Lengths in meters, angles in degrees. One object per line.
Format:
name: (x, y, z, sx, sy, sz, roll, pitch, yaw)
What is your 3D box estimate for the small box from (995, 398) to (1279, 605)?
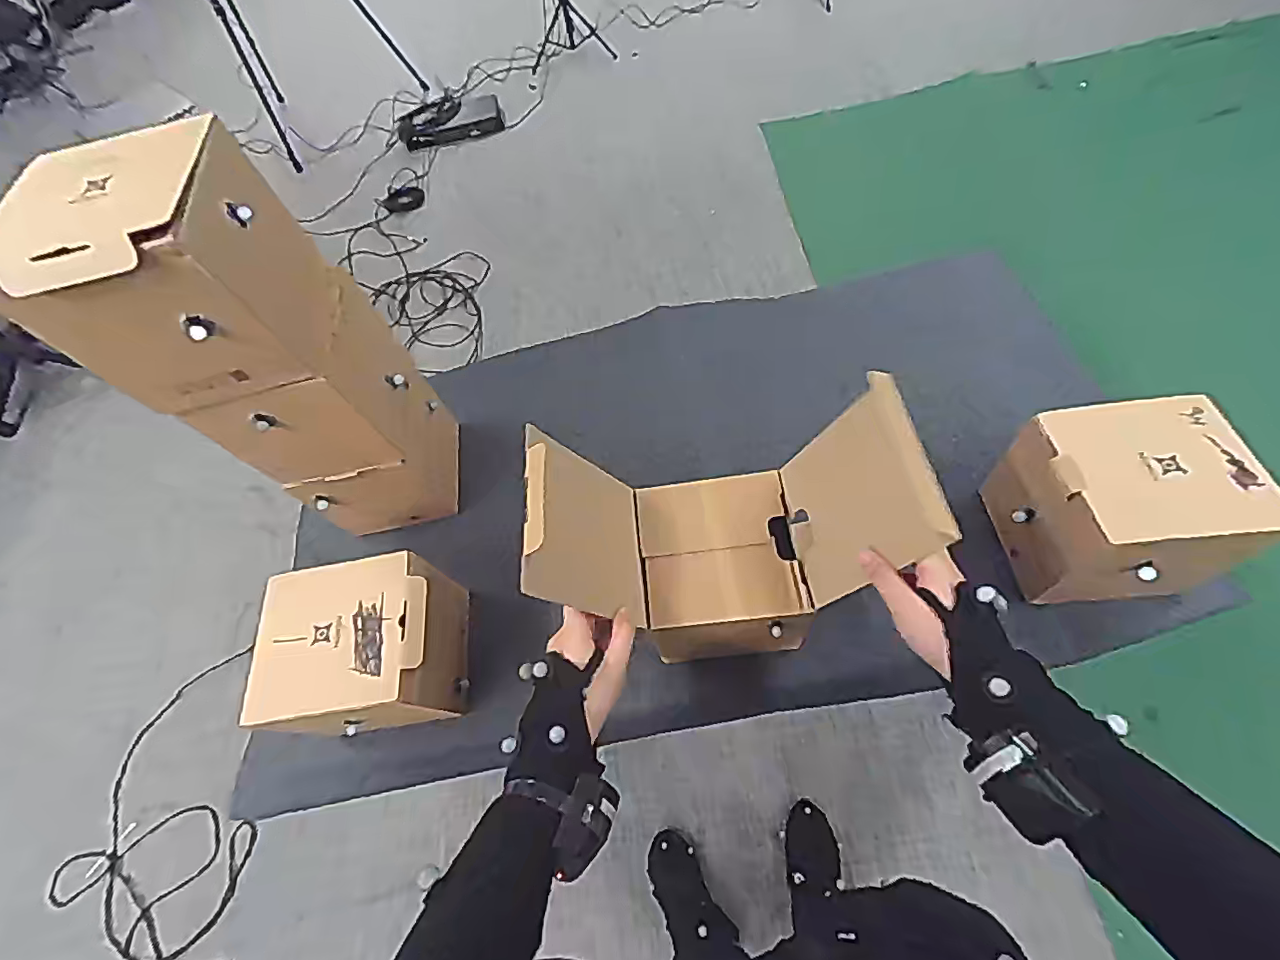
small box: (0.535, 0.033, 0.607, 0.179, 0.176, 0.168, -6, 57, 7)

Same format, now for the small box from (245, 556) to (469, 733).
small box: (-0.322, 0.207, 0.659, 0.179, 0.176, 0.168, -10, 62, 4)

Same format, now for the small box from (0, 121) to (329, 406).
small box: (-0.424, -0.189, 0.510, 0.168, 0.176, 0.179, -14, 61, 0)

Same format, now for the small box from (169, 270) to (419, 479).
small box: (-0.395, -0.116, 0.652, 0.179, 0.176, 0.168, -11, 62, 3)

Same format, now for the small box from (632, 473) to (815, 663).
small box: (0.095, 0.112, 0.644, 0.179, 0.176, 0.168, -8, 60, 5)
